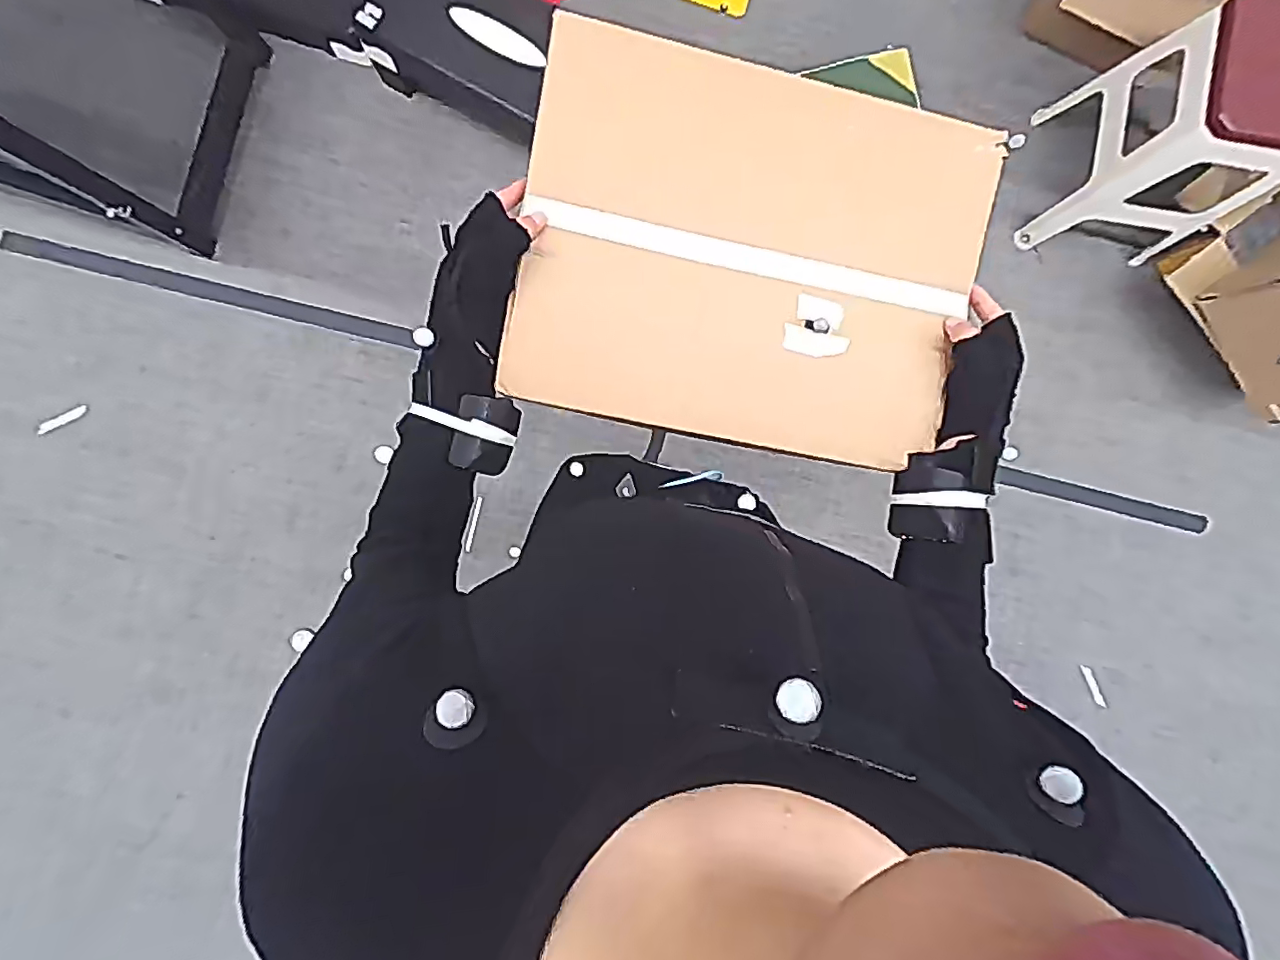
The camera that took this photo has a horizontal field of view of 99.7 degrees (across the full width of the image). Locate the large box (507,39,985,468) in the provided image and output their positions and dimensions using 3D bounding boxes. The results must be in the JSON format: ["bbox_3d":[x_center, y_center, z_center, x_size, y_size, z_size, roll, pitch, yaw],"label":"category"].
[{"bbox_3d":[0.083,-0.208,0.636,0.408,0.320,0.320,10,96,-7],"label":"large box"}]
